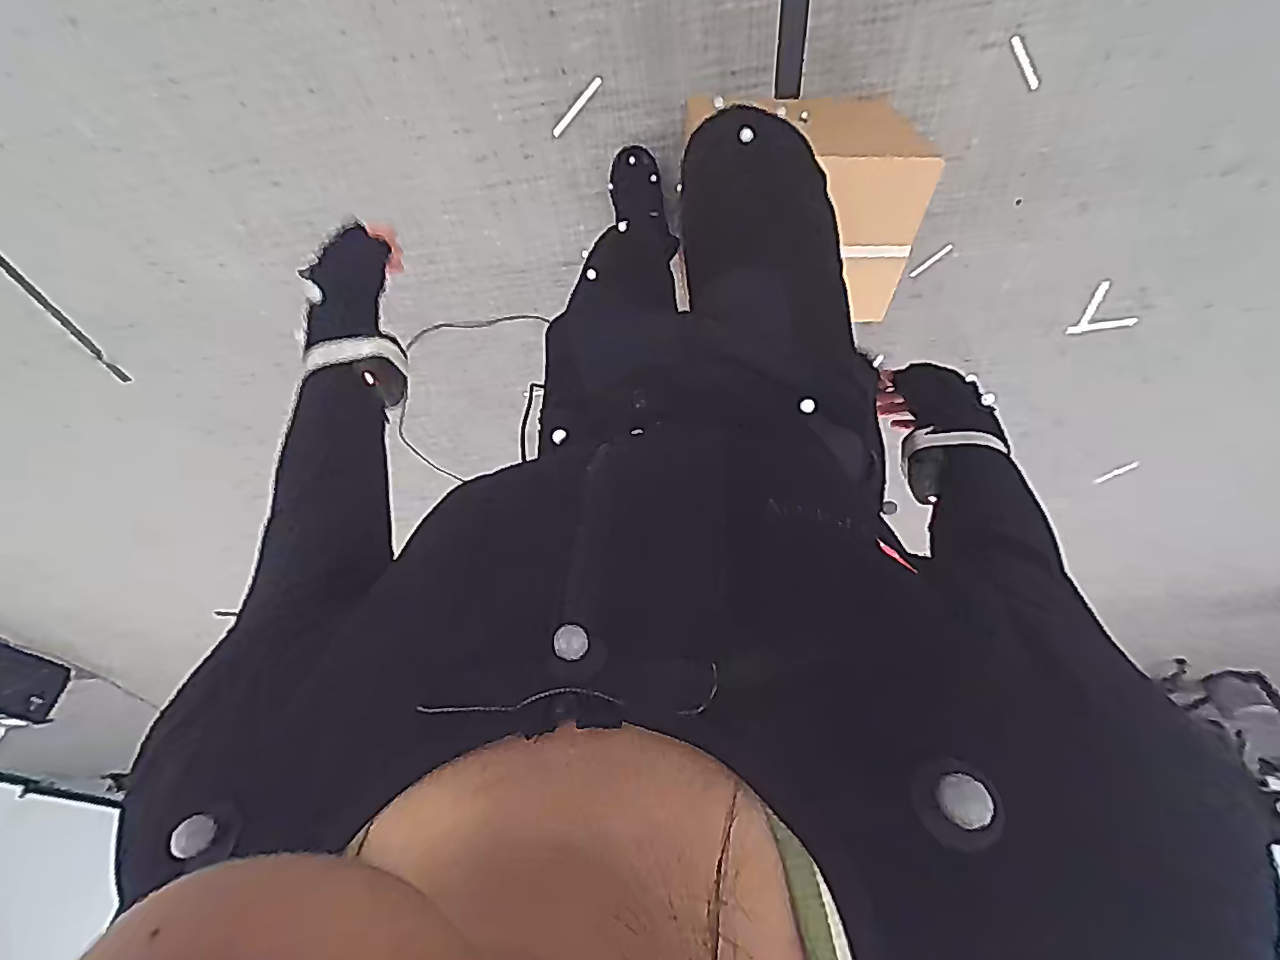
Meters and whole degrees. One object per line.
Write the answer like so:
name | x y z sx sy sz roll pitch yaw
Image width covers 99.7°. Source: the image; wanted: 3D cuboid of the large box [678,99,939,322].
large box | 0.295 -0.544 1.097 0.408 0.320 0.320 -1 139 -2
